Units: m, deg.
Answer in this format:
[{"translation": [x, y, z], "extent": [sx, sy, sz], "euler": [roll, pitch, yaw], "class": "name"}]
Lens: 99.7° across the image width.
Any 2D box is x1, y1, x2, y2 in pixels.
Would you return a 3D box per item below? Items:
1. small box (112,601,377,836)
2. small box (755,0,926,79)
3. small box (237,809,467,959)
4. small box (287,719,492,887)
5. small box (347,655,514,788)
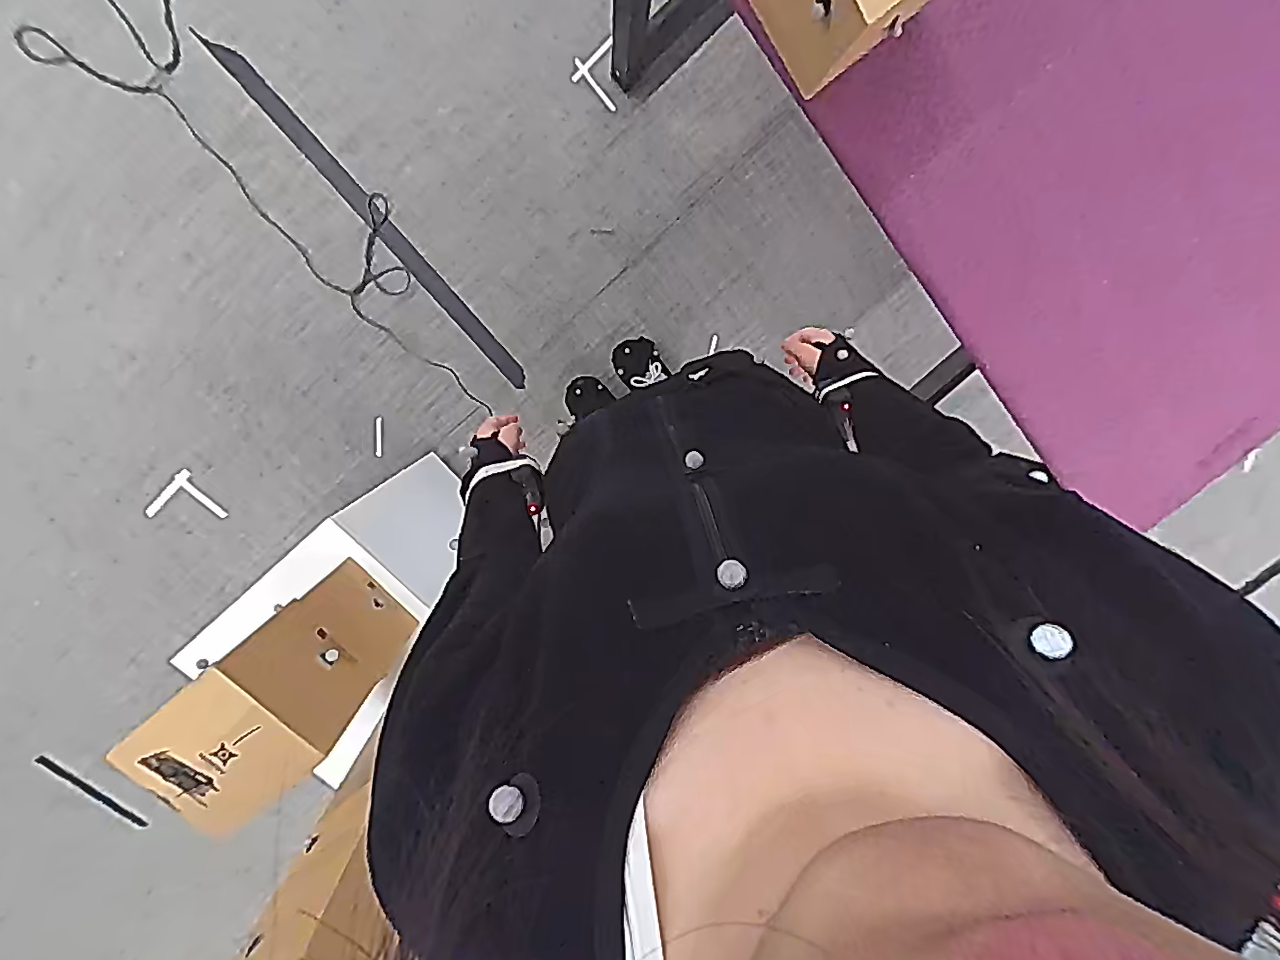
[{"translation": [-0.479, 0.291, 0.690], "extent": [0.179, 0.176, 0.168], "euler": [-38, 104, 5], "class": "small box"}, {"translation": [0.219, -0.551, 0.542], "extent": [0.168, 0.176, 0.179], "euler": [-37, 104, 6], "class": "small box"}, {"translation": [-0.319, 0.518, 0.593], "extent": [0.179, 0.176, 0.168], "euler": [-41, 104, 7], "class": "small box"}, {"translation": [-0.325, 0.476, 0.750], "extent": [0.179, 0.176, 0.168], "euler": [-41, 103, 8], "class": "small box"}, {"translation": [-0.335, 0.437, 0.907], "extent": [0.179, 0.176, 0.168], "euler": [-39, 104, 8], "class": "small box"}]
